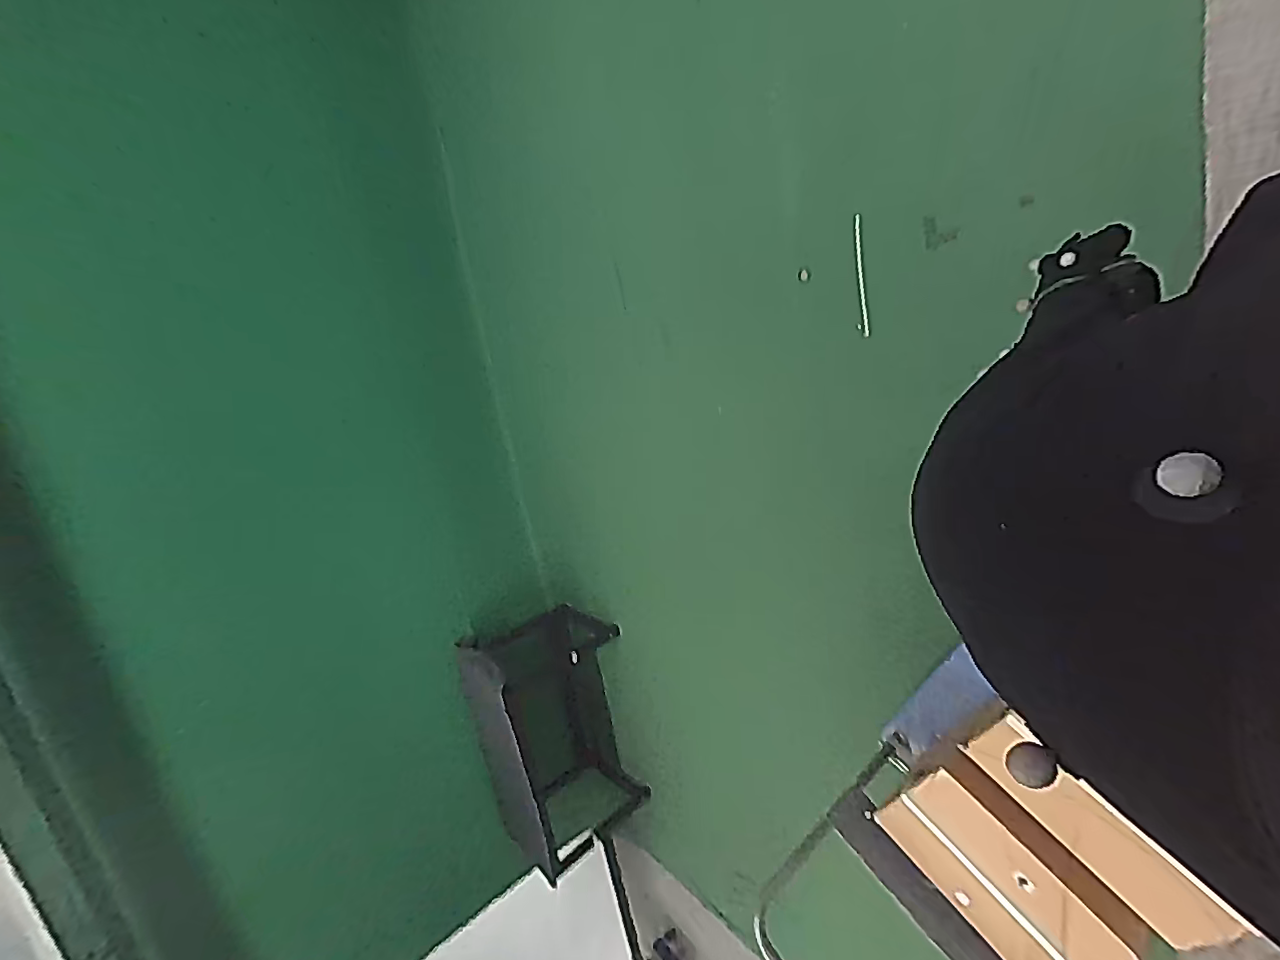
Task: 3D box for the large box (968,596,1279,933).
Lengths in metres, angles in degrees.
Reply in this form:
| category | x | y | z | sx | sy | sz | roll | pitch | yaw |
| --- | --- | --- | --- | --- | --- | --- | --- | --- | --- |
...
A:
| category | x | y | z | sx | sy | sz | roll | pitch | yaw |
| --- | --- | --- | --- | --- | --- | --- | --- | --- | --- |
| large box | 0.947 | 0.503 | 1.010 | 0.408 | 0.320 | 0.320 | 44 | 139 | 31 |
